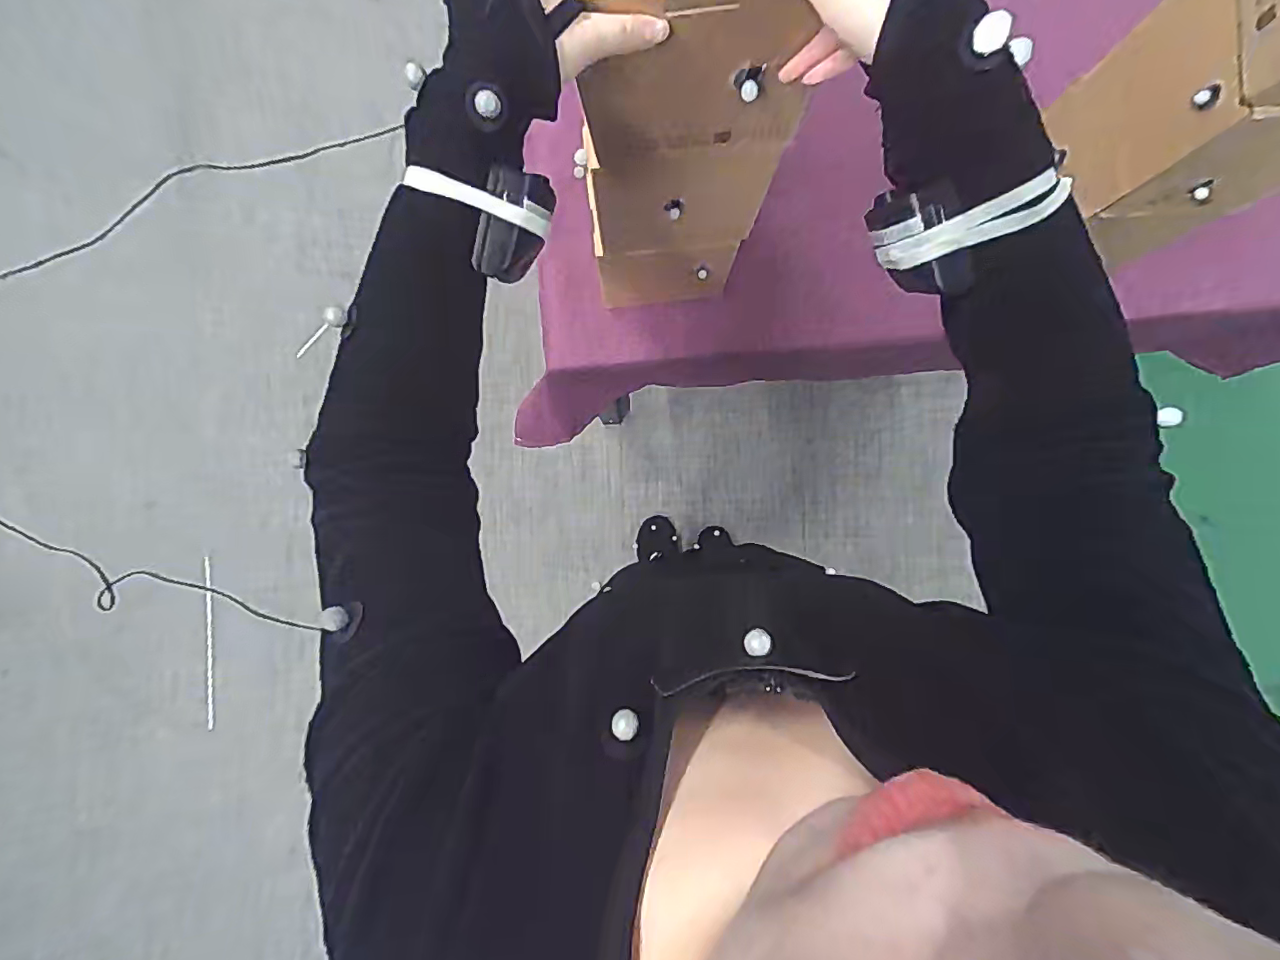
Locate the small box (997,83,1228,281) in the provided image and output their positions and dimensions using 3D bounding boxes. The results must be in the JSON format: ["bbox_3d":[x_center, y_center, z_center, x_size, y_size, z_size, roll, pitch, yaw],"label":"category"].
[{"bbox_3d":[0.608,-0.384,0.719,0.168,0.176,0.179,-2,88,1],"label":"small box"}]

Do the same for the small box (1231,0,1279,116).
[{"bbox_3d":[0.604,-0.396,0.391,0.179,0.176,0.168,0,88,0],"label":"small box"}]

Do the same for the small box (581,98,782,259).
[{"bbox_3d":[0.033,-0.351,0.561,0.179,0.176,0.168,-6,87,0],"label":"small box"}]

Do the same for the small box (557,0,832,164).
[{"bbox_3d":[0.036,-0.353,0.386,0.168,0.176,0.179,-3,89,4],"label":"small box"}]

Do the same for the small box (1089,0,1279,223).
[{"bbox_3d":[0.608,-0.392,0.556,0.168,0.176,0.179,-2,88,1],"label":"small box"}]
